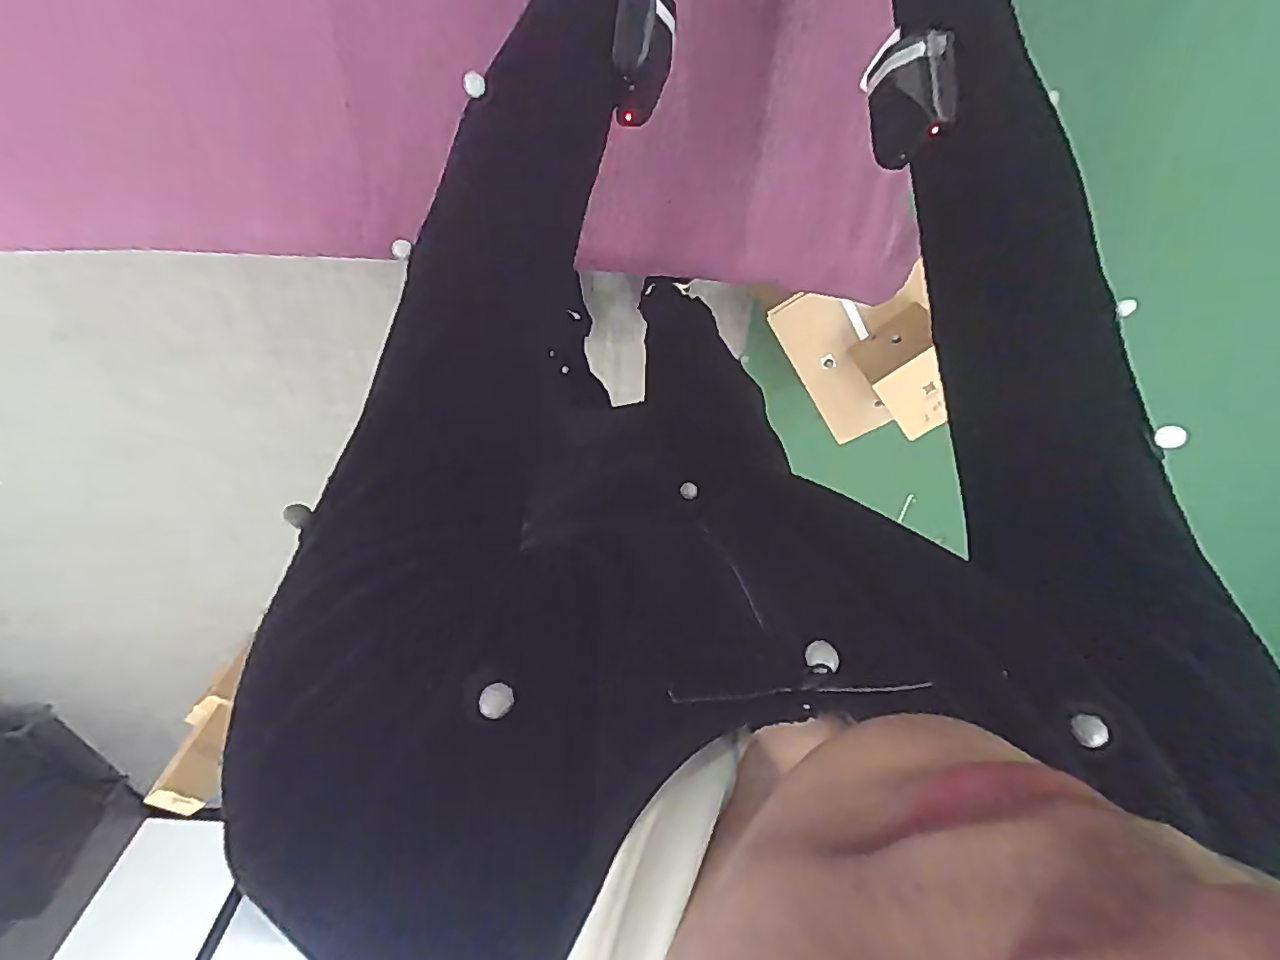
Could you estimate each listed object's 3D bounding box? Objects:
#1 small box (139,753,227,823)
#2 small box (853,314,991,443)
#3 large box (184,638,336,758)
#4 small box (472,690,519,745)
[{"bbox_3d":[-1.707,1.154,2.031,0.179,0.176,0.168,-35,119,25],"label":"small box"},{"bbox_3d":[0.570,-0.217,1.113,0.168,0.176,0.179,-35,119,24],"label":"small box"},{"bbox_3d":[-1.673,0.970,2.405,0.320,0.320,0.408,-36,119,26],"label":"large box"},{"bbox_3d":[-0.660,1.096,2.482,0.168,0.176,0.179,10,126,-1],"label":"small box"}]
